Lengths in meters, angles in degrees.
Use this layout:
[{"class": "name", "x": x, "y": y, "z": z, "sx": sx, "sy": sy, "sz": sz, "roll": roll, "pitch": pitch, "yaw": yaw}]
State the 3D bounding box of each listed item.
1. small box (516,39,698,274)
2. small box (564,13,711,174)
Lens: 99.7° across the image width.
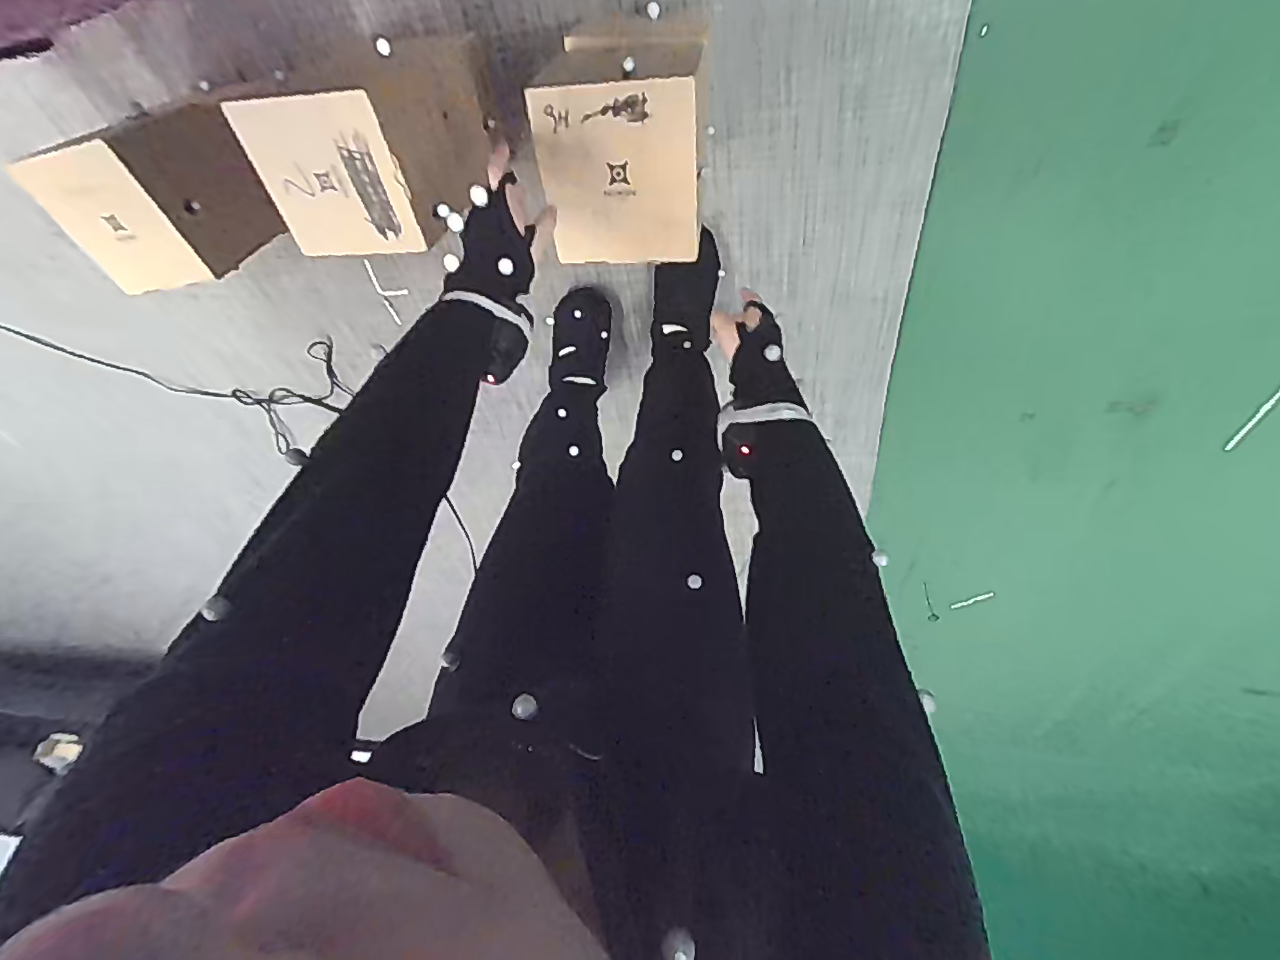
[{"class": "small box", "x": -0.021, "y": -0.369, "z": 0.625, "sx": 0.168, "sy": 0.176, "sz": 0.179, "roll": -3, "pitch": 139, "yaw": 10}, {"class": "small box", "x": 0.004, "y": -0.500, "z": 0.727, "sx": 0.168, "sy": 0.176, "sz": 0.179, "roll": 6, "pitch": 137, "yaw": 6}]
